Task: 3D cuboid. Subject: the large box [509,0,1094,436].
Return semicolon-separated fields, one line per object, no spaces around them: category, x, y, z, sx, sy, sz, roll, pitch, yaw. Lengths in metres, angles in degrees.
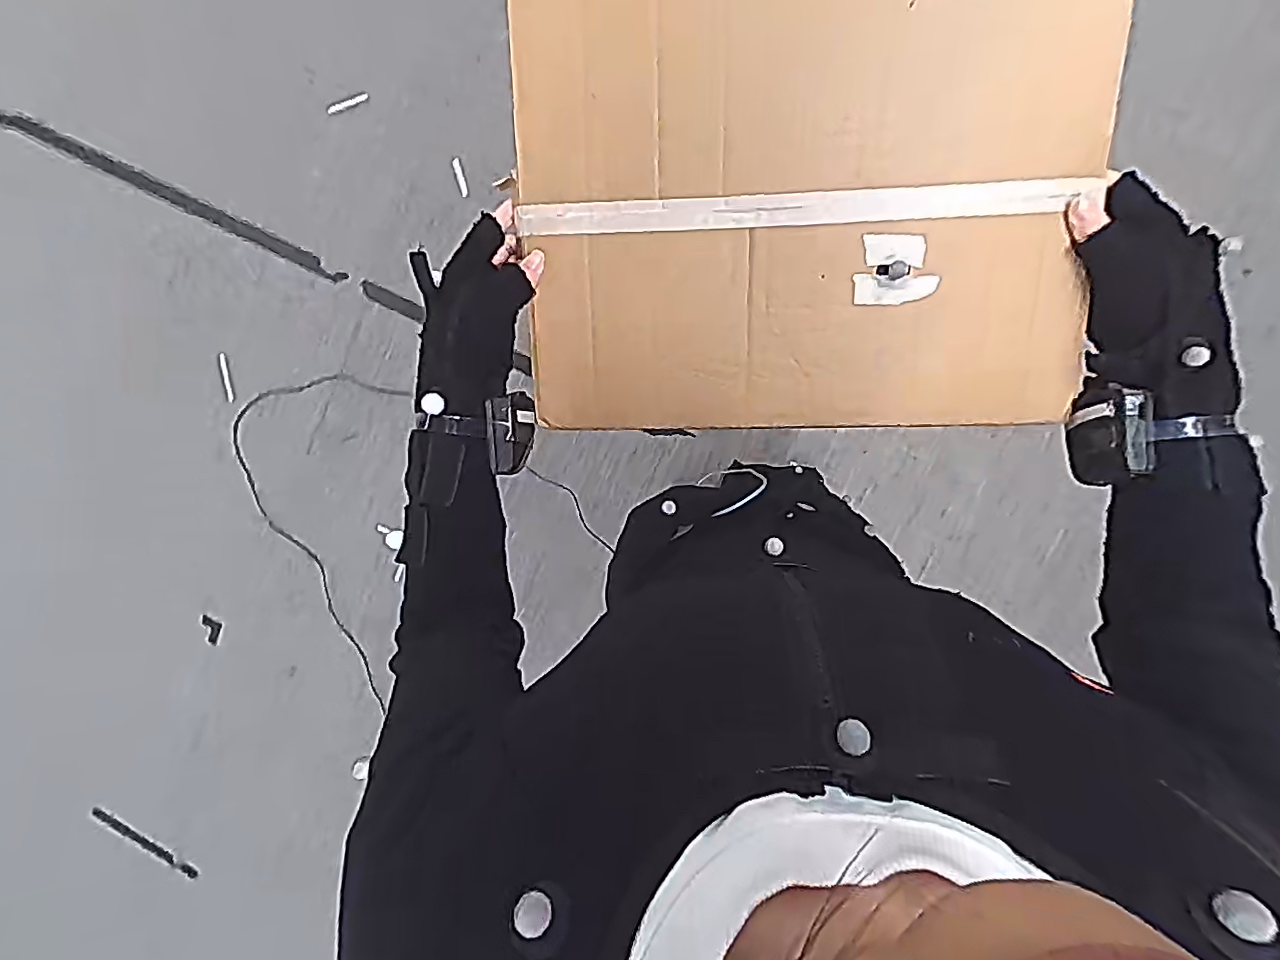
large box;0.119;-0.226;0.544;0.408;0.320;0.320;-2;103;4
